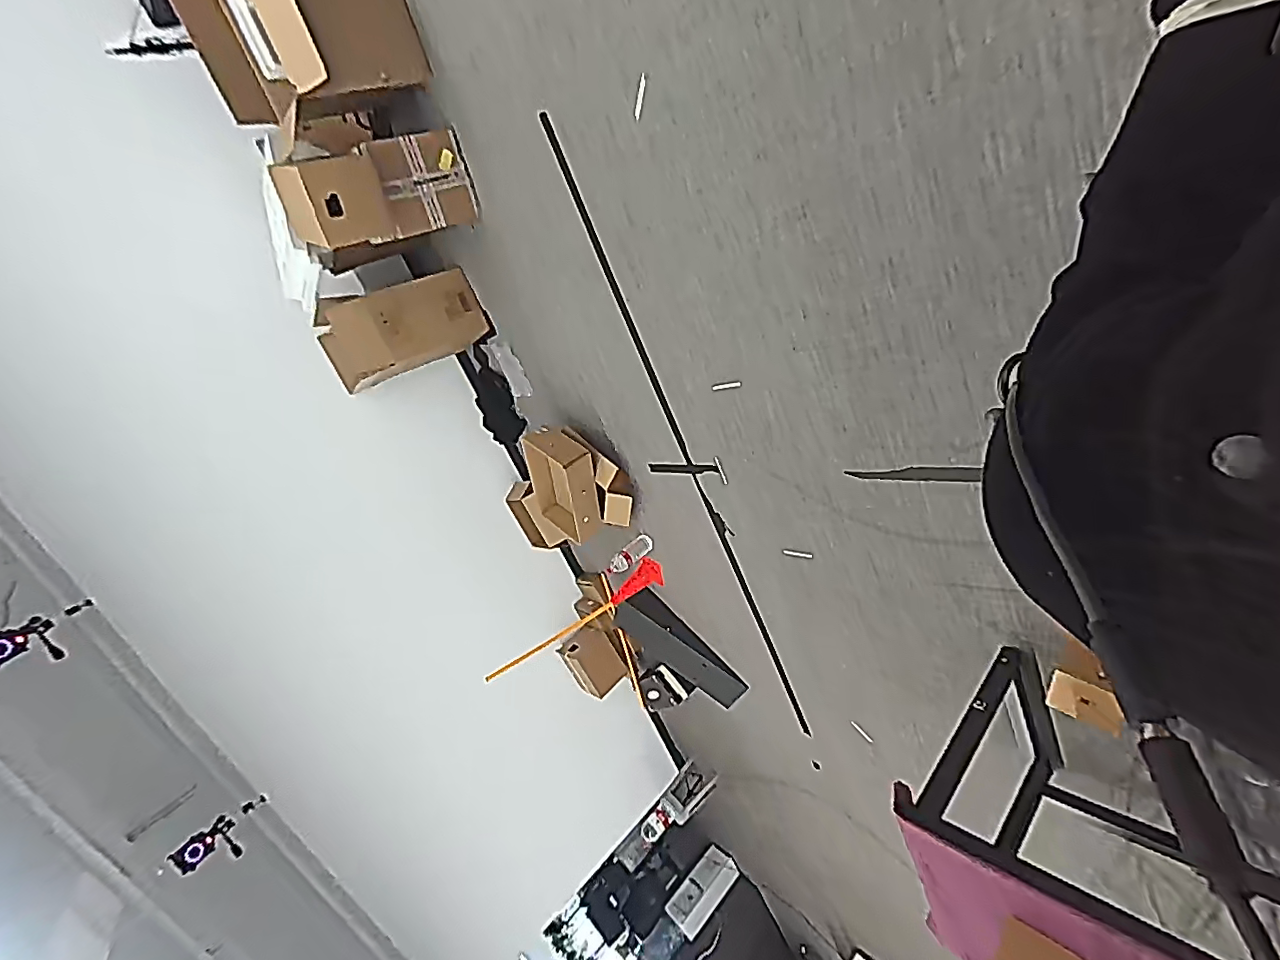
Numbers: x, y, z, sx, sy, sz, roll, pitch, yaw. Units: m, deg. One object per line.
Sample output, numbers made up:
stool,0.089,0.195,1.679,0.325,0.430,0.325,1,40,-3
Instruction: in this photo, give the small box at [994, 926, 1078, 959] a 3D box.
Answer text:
small box,0.919,1.171,1.226,0.179,0.176,0.168,4,124,53

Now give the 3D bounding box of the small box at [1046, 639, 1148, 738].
small box,1.309,0.587,1.552,0.179,0.176,0.168,21,135,43
